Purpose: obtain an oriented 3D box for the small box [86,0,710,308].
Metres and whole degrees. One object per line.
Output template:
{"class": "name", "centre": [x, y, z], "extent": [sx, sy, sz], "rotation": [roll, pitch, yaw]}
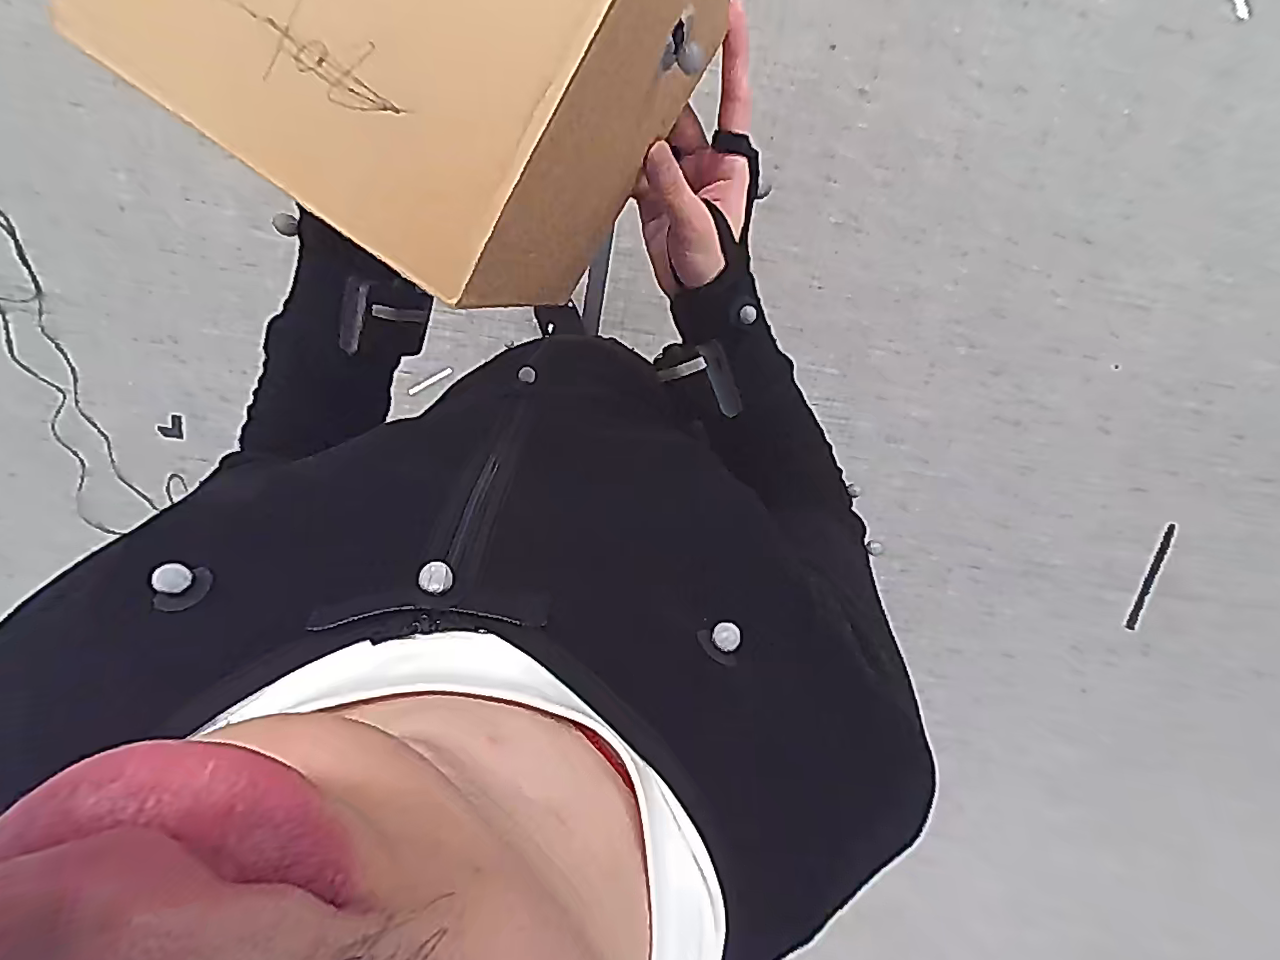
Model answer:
{"class": "small box", "centre": [-0.078, -0.203, 0.252], "extent": [0.168, 0.176, 0.179], "rotation": [34, 110, -4]}
